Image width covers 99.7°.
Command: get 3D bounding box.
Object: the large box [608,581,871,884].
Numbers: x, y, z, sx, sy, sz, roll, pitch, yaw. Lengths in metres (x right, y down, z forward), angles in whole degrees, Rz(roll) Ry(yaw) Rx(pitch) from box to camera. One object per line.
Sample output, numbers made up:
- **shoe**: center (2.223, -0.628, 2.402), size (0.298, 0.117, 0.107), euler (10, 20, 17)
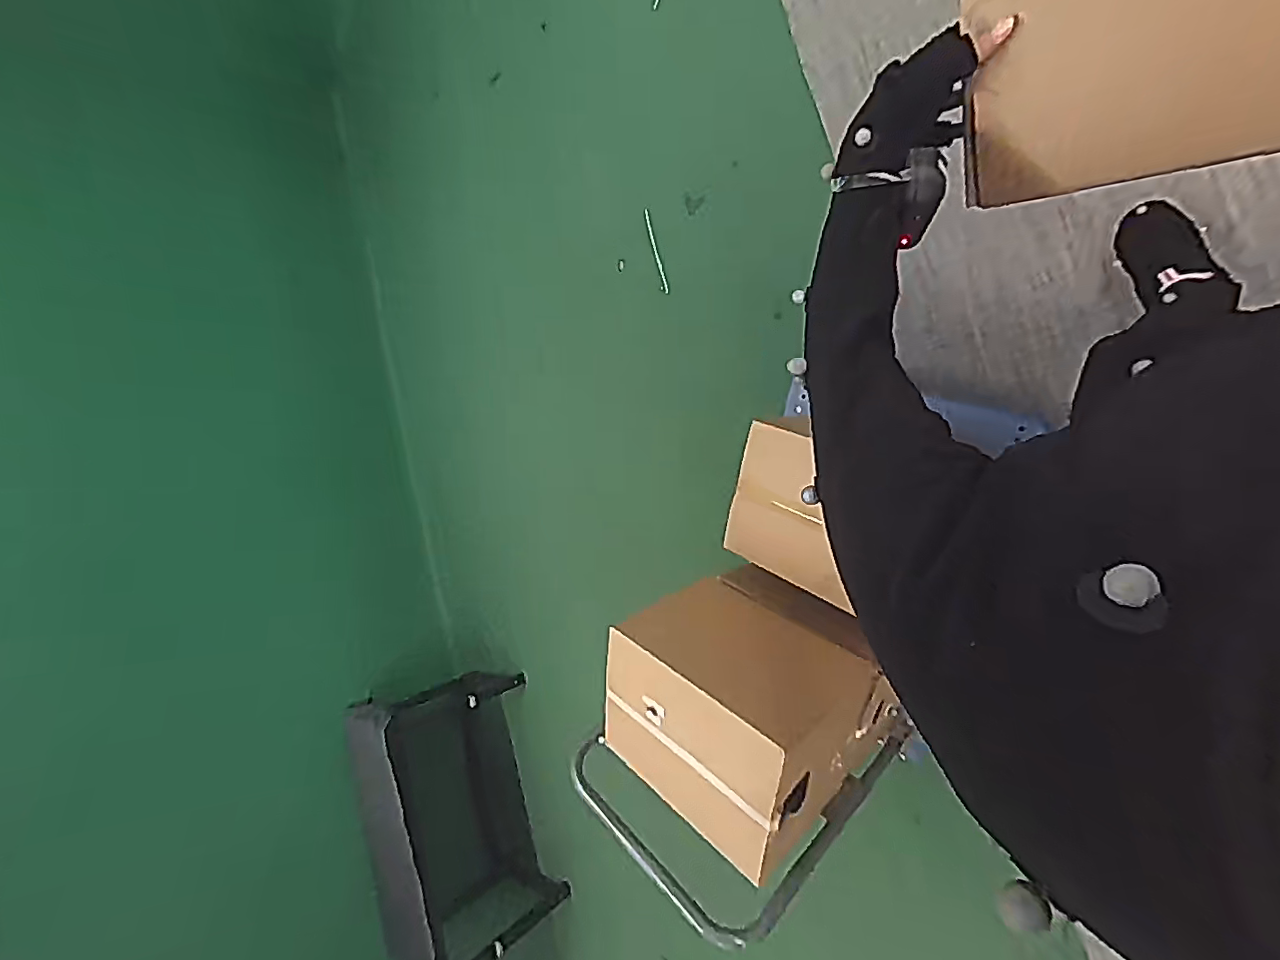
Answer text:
- **large box**: center (0.184, 0.458, 1.084), size (0.408, 0.320, 0.320), euler (24, 118, 42)
